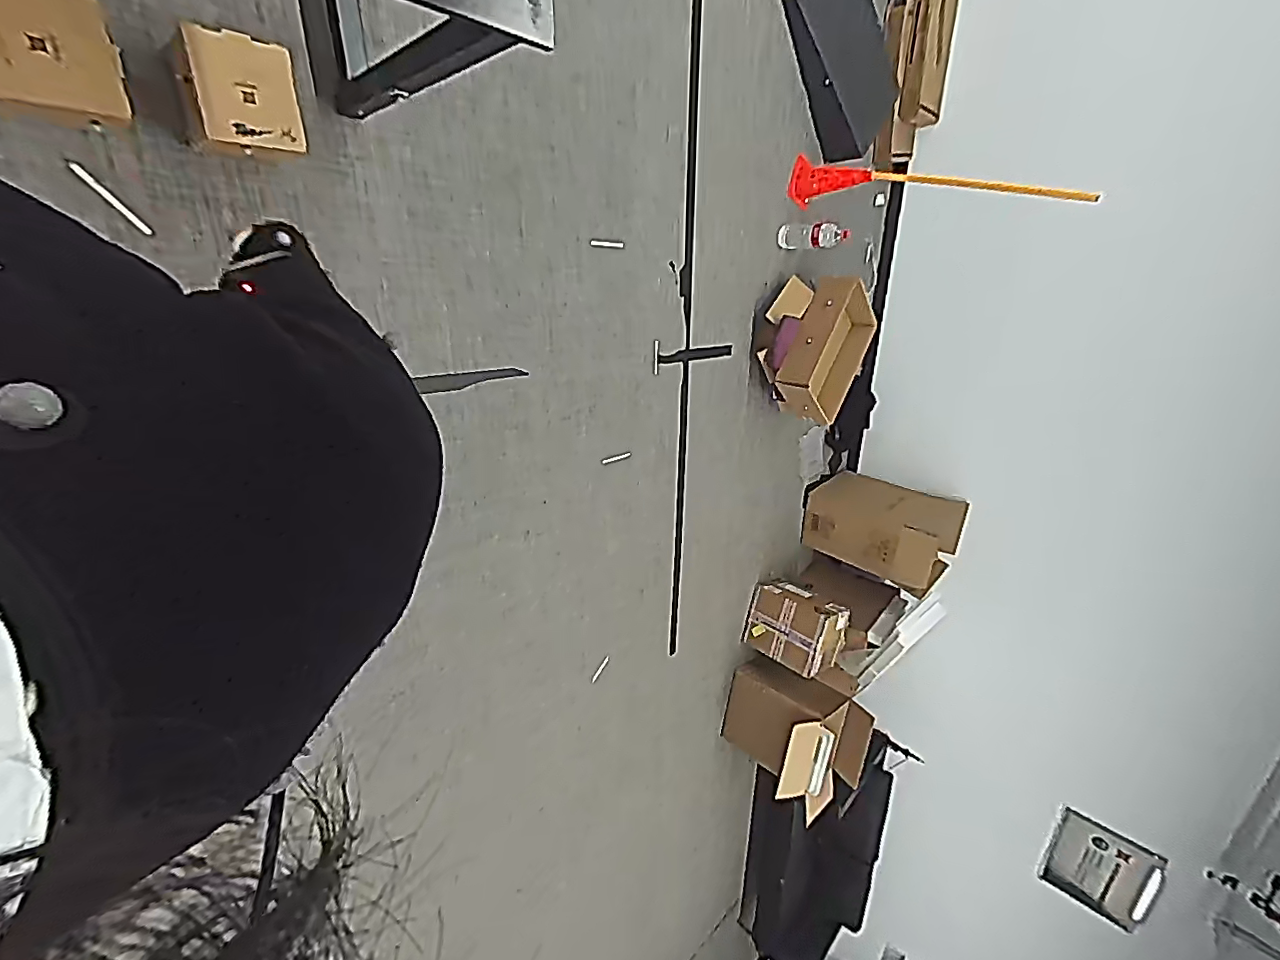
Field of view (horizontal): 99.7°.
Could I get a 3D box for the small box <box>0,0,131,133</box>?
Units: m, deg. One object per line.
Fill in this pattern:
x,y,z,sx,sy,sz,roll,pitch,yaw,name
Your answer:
-0.970,-0.679,0.874,0.179,0.176,0.168,-19,118,-41,small box

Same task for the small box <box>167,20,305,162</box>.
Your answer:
-0.785,-0.738,1.051,0.168,0.176,0.179,-20,119,-41,small box
